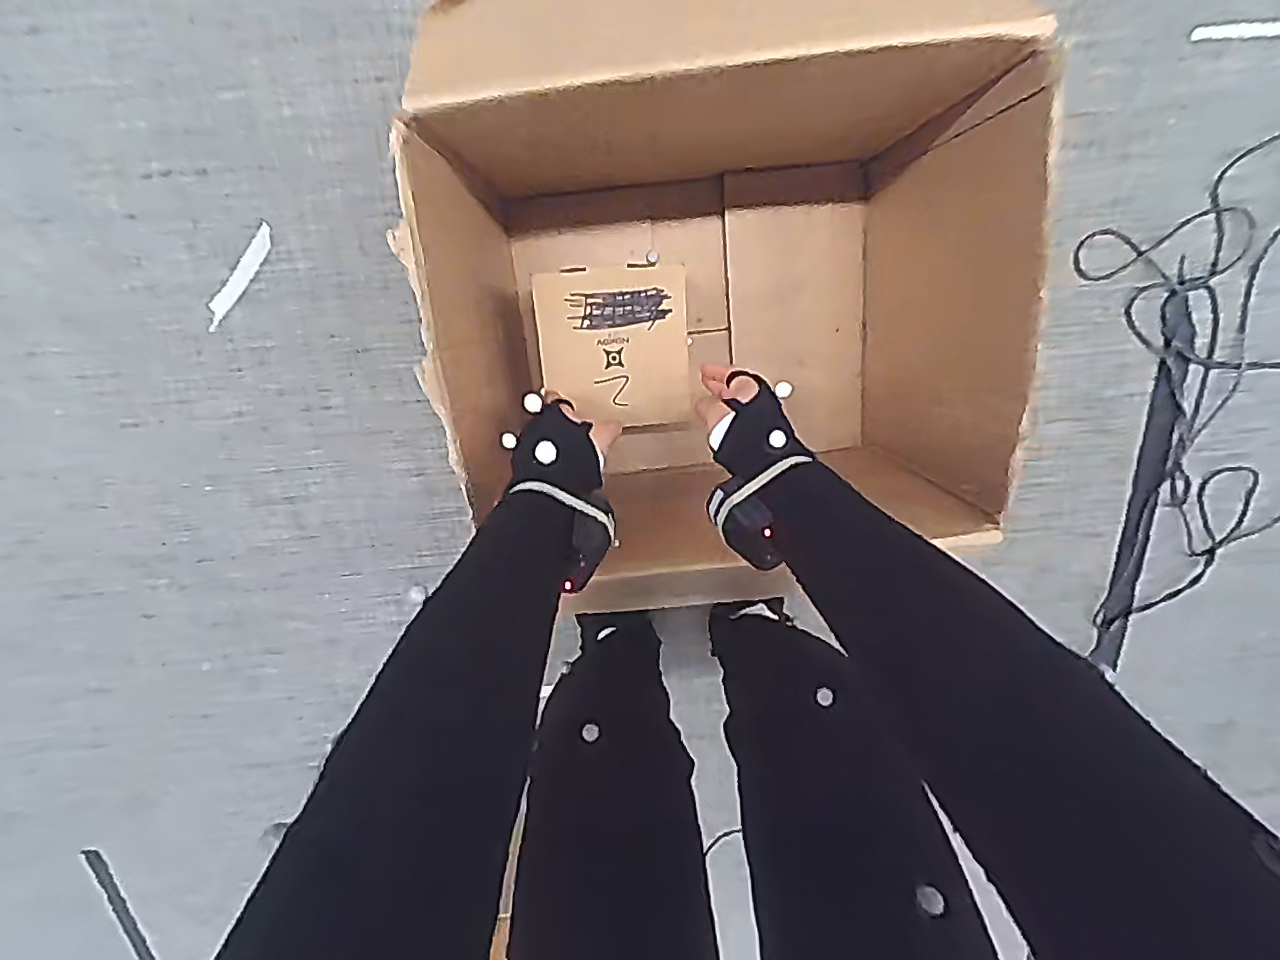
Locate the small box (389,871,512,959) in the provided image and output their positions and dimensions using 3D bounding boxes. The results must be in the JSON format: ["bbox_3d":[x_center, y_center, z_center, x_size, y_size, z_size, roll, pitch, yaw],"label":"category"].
[{"bbox_3d":[-0.320,0.810,0.928,0.179,0.176,0.168,-1,108,-4],"label":"small box"}]
